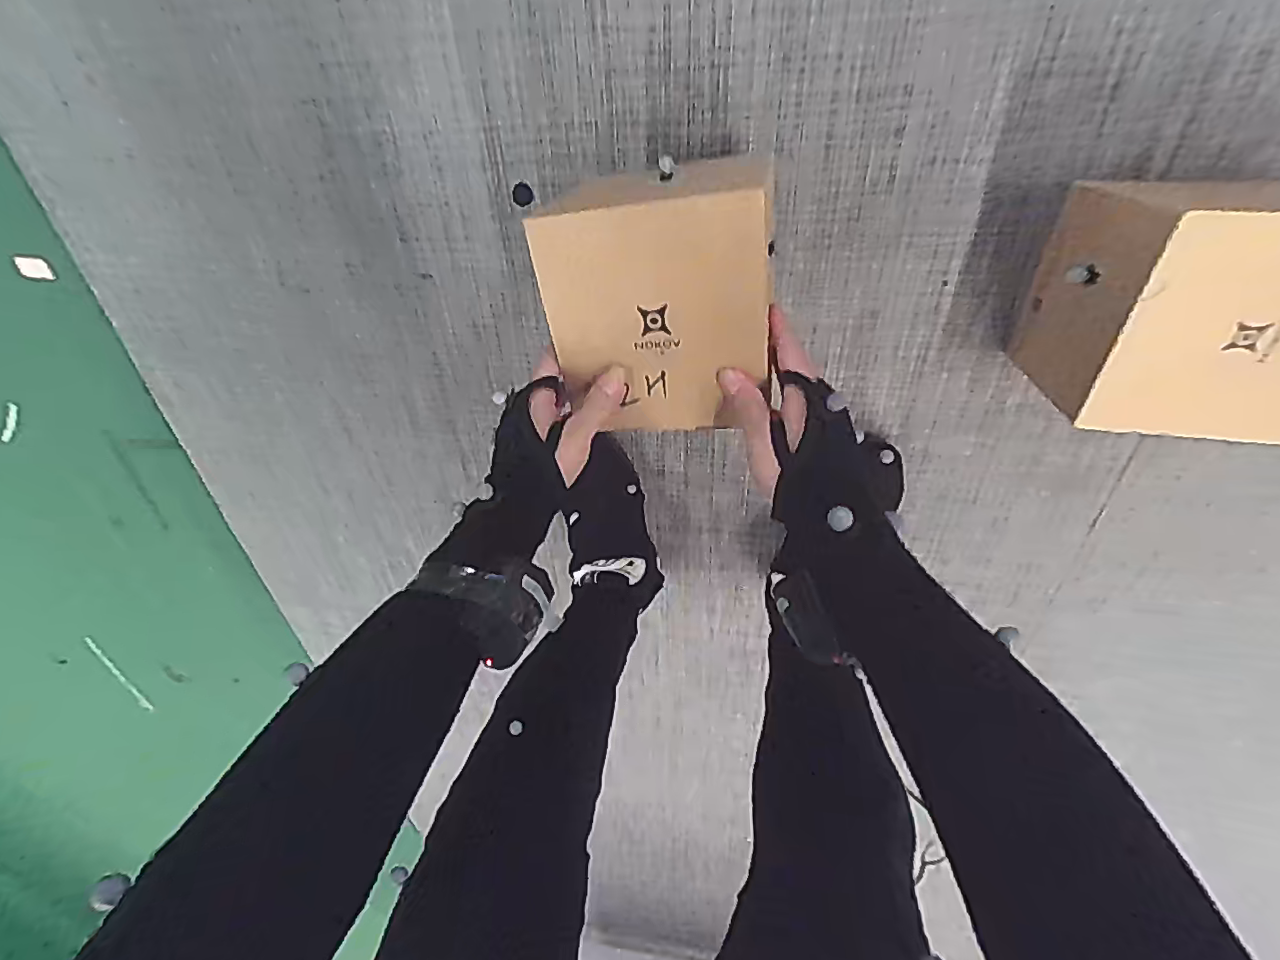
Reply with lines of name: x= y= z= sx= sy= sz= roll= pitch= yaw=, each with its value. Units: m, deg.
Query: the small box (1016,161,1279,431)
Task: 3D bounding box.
small box: x=0.449 y=-0.155 z=0.437 sx=0.179 sy=0.176 sz=0.168 roll=5 pitch=125 yaw=8

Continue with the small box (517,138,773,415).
small box: x=0.023 y=-0.173 z=0.454 sx=0.168 sy=0.176 sz=0.179 roll=1 pitch=128 yaw=16
